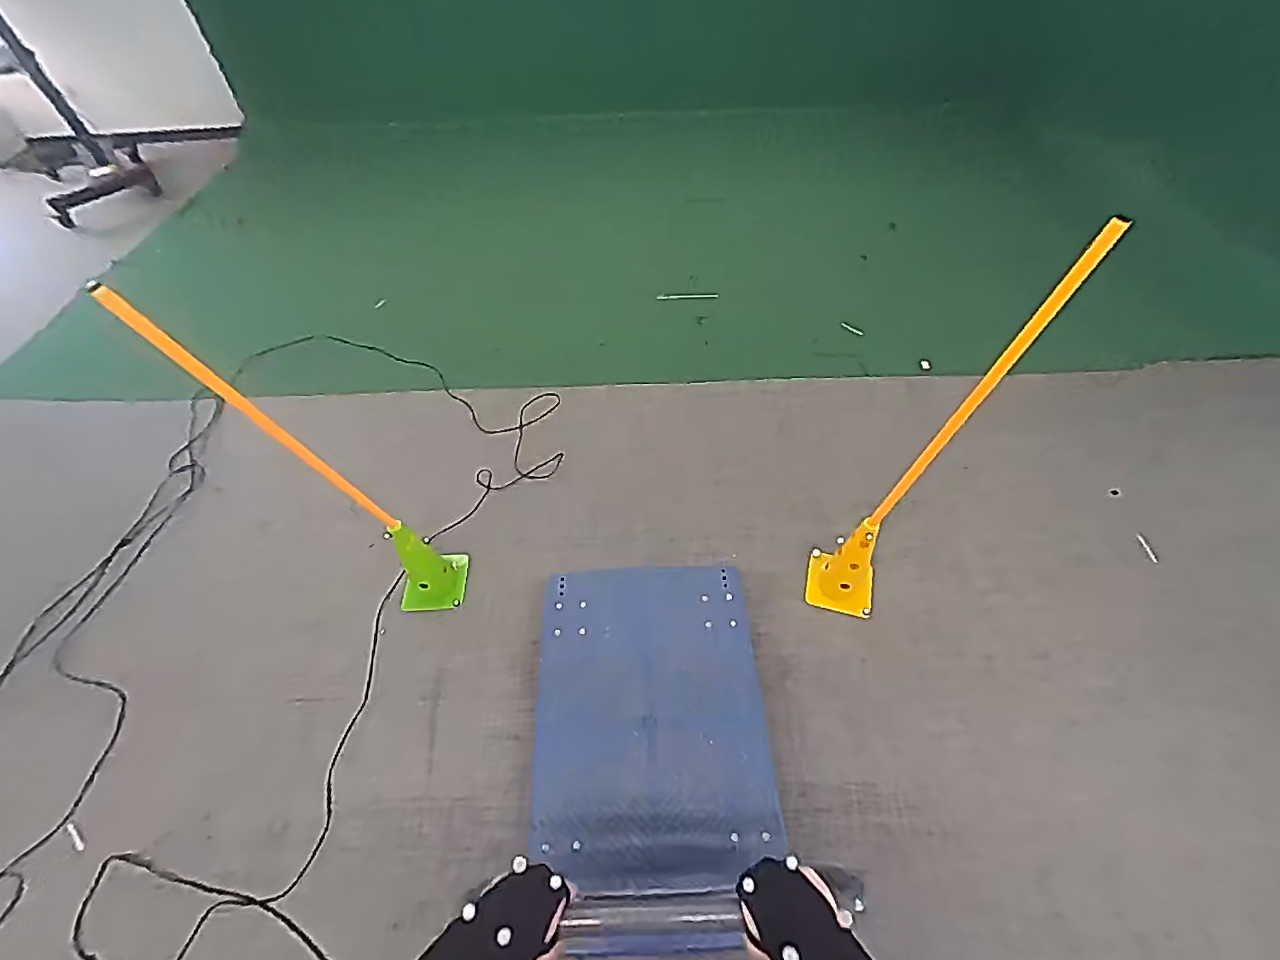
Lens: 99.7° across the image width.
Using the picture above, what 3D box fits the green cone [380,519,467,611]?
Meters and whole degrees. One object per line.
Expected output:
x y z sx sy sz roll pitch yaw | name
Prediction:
-0.697 0.232 1.668 0.202 0.368 0.200 -5 52 1 | green cone
